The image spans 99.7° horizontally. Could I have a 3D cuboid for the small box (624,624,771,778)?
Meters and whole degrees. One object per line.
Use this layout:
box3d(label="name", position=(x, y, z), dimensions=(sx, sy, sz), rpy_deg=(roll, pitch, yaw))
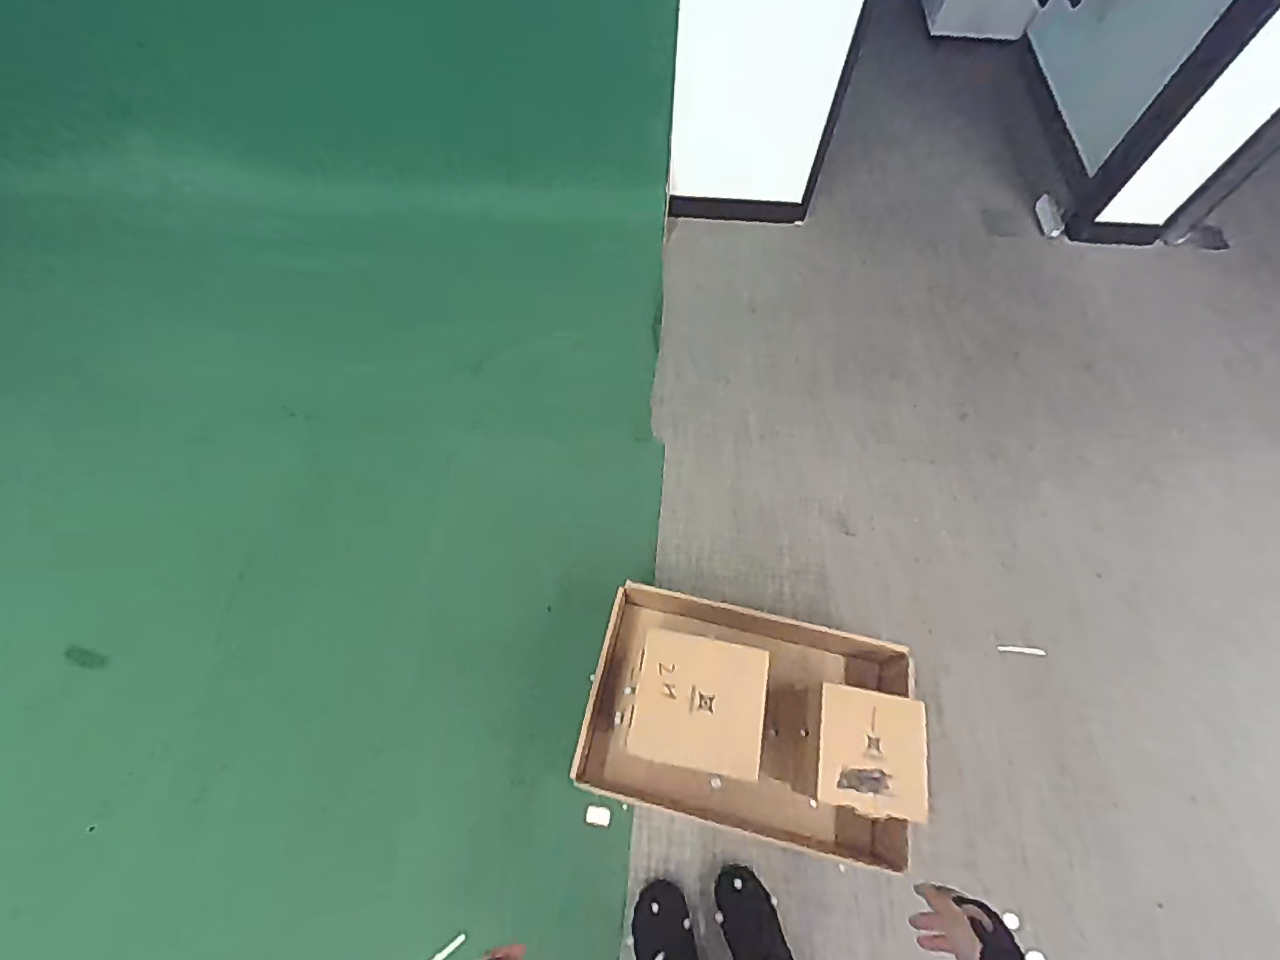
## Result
box3d(label="small box", position=(0.079, 0.323, 0.796), dimensions=(0.179, 0.176, 0.168), rpy_deg=(11, 66, 3))

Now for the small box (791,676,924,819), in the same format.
box3d(label="small box", position=(0.361, 0.448, 0.919), dimensions=(0.168, 0.176, 0.179), rpy_deg=(10, 65, 5))
